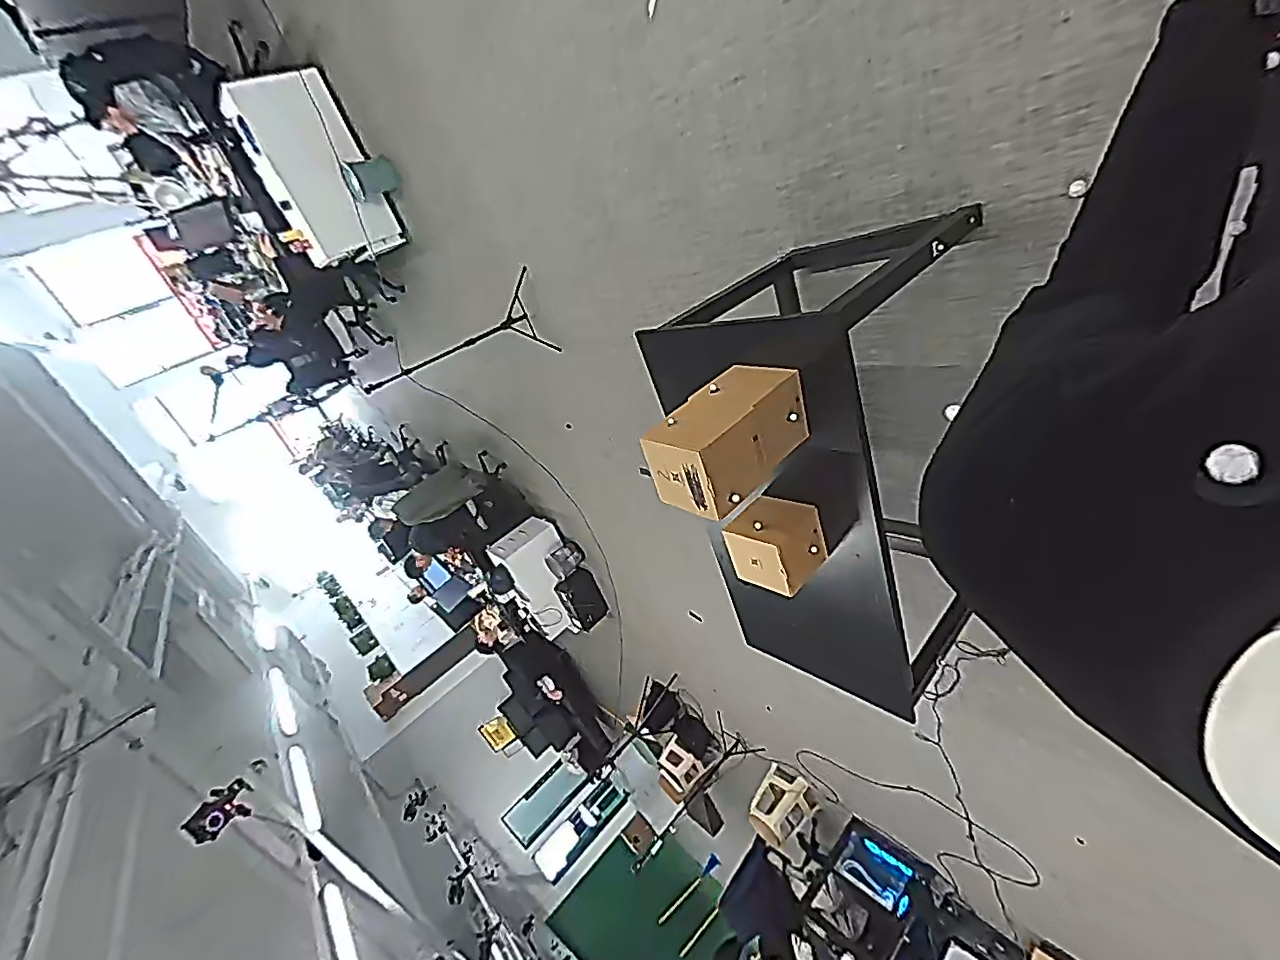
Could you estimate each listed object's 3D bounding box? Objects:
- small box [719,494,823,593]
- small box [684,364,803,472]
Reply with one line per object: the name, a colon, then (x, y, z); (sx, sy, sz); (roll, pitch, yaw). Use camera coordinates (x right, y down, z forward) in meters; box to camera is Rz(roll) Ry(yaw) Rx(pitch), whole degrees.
small box: (0.336, 0.155, 1.383); (0.179, 0.176, 0.168); (13, 133, 50)
small box: (0.231, -0.144, 1.189); (0.179, 0.176, 0.168); (19, 139, 47)
